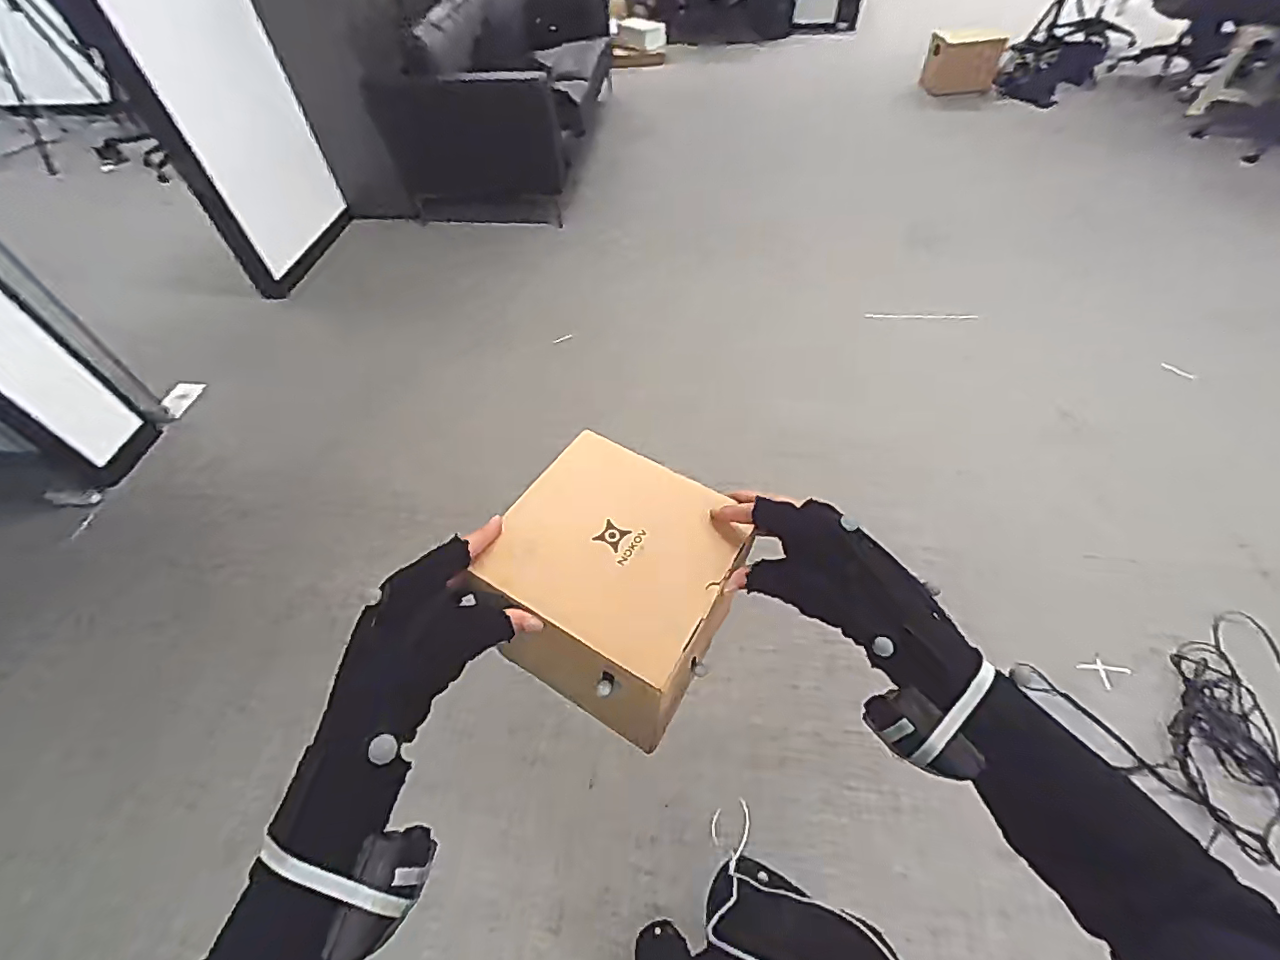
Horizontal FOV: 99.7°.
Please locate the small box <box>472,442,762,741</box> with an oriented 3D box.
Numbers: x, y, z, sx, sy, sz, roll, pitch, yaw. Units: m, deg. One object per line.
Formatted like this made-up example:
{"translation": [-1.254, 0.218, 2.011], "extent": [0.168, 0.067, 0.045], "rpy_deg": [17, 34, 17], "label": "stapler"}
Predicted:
{"translation": [-0.018, 0.103, 0.487], "extent": [0.179, 0.176, 0.168], "rpy_deg": [27, 54, 17], "label": "small box"}
